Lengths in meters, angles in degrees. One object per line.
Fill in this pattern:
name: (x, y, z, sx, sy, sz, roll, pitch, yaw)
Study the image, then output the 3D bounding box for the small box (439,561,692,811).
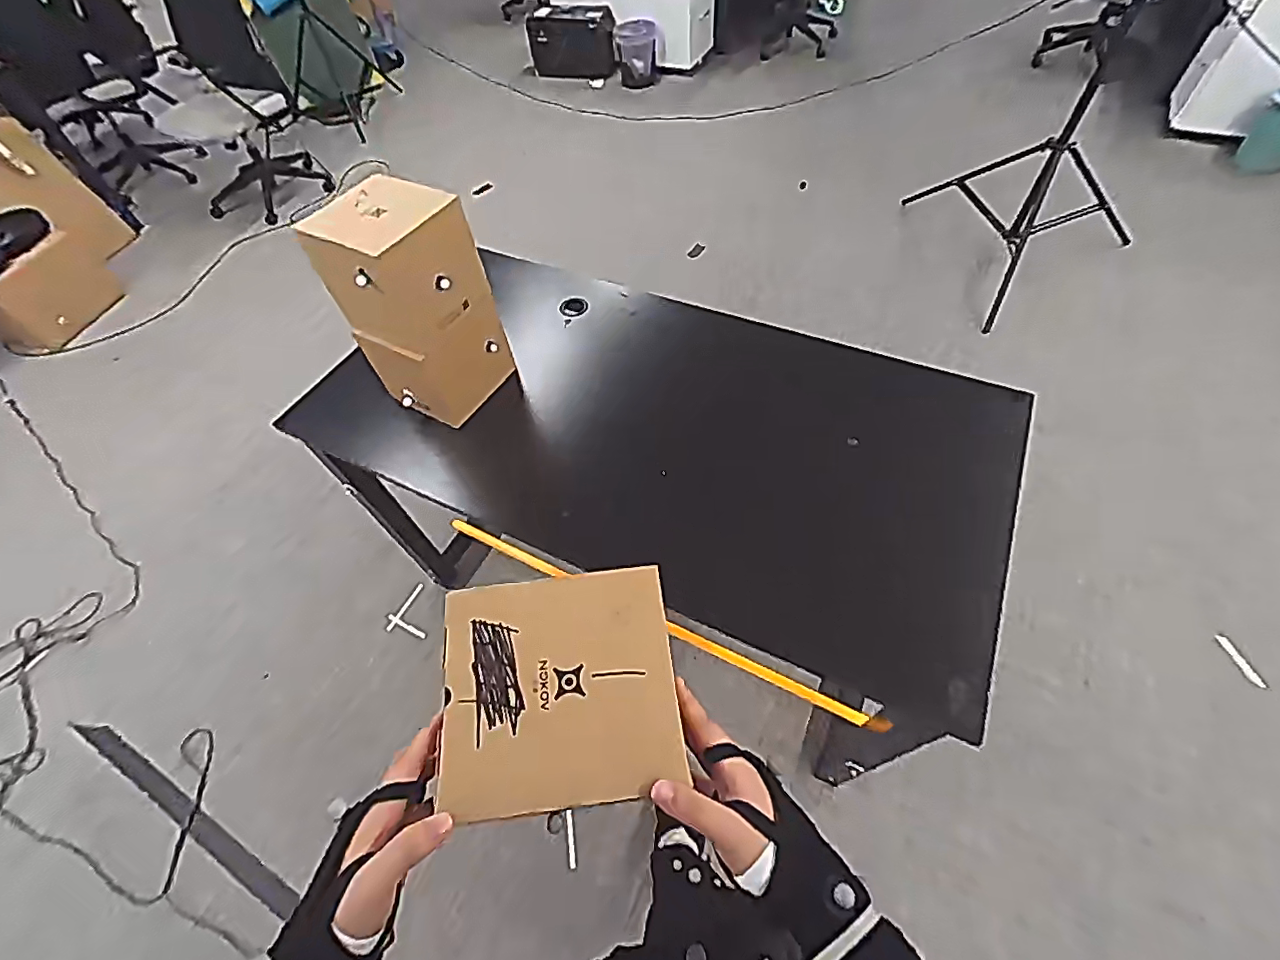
small box: (-0.056, 0.187, 0.474, 0.179, 0.176, 0.168, -6, 60, -3)

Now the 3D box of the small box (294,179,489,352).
small box: (-0.362, -0.321, 0.824, 0.179, 0.176, 0.168, 23, 60, 20)

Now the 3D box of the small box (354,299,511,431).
small box: (-0.349, -0.220, 0.955, 0.168, 0.176, 0.179, 23, 61, 20)
